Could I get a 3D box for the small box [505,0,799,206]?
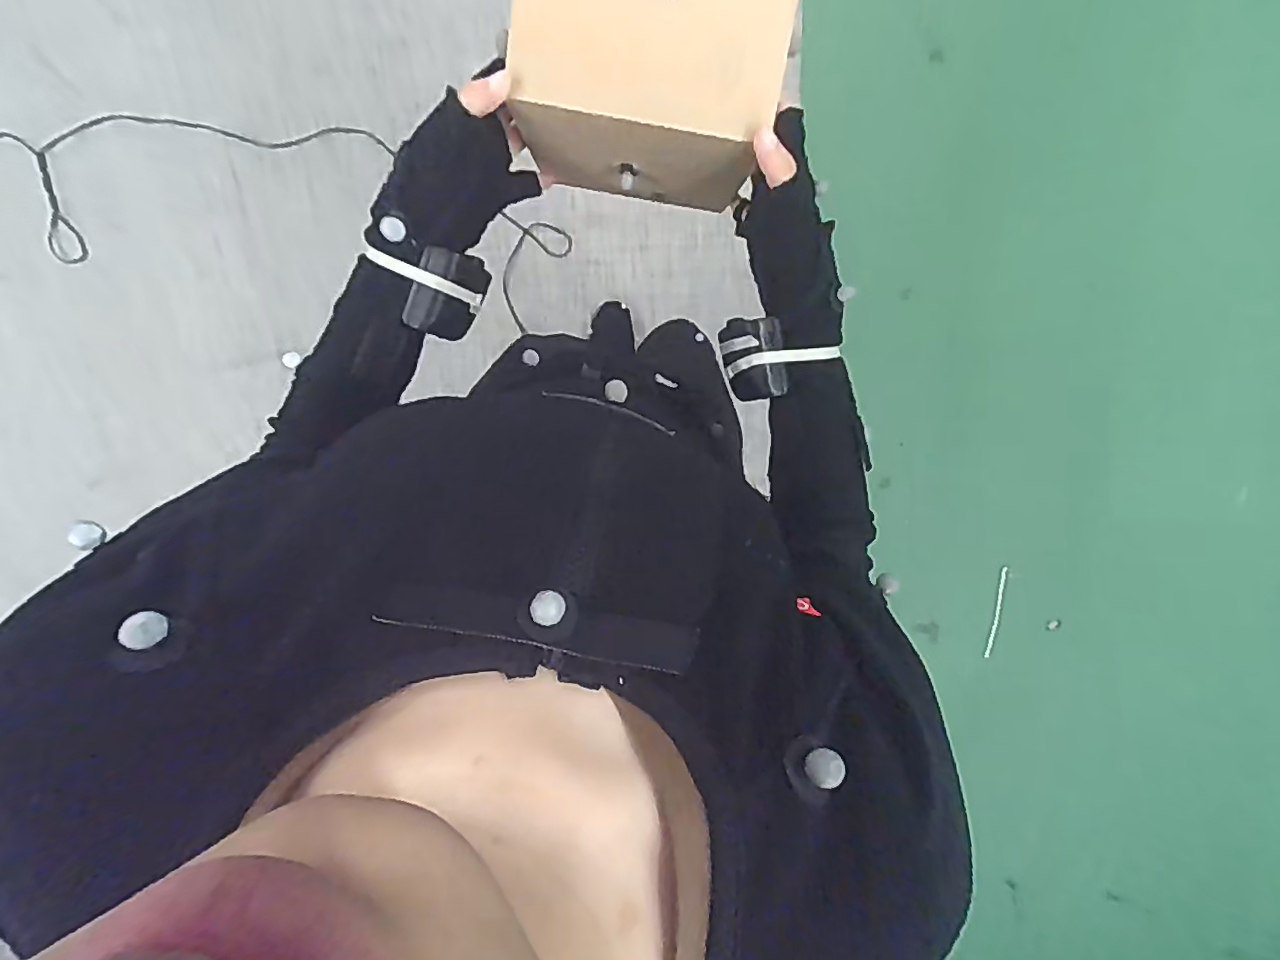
[{"bbox_3d":[0.012,-0.316,0.383,0.168,0.176,0.179,9,102,-4],"label":"small box"}]
